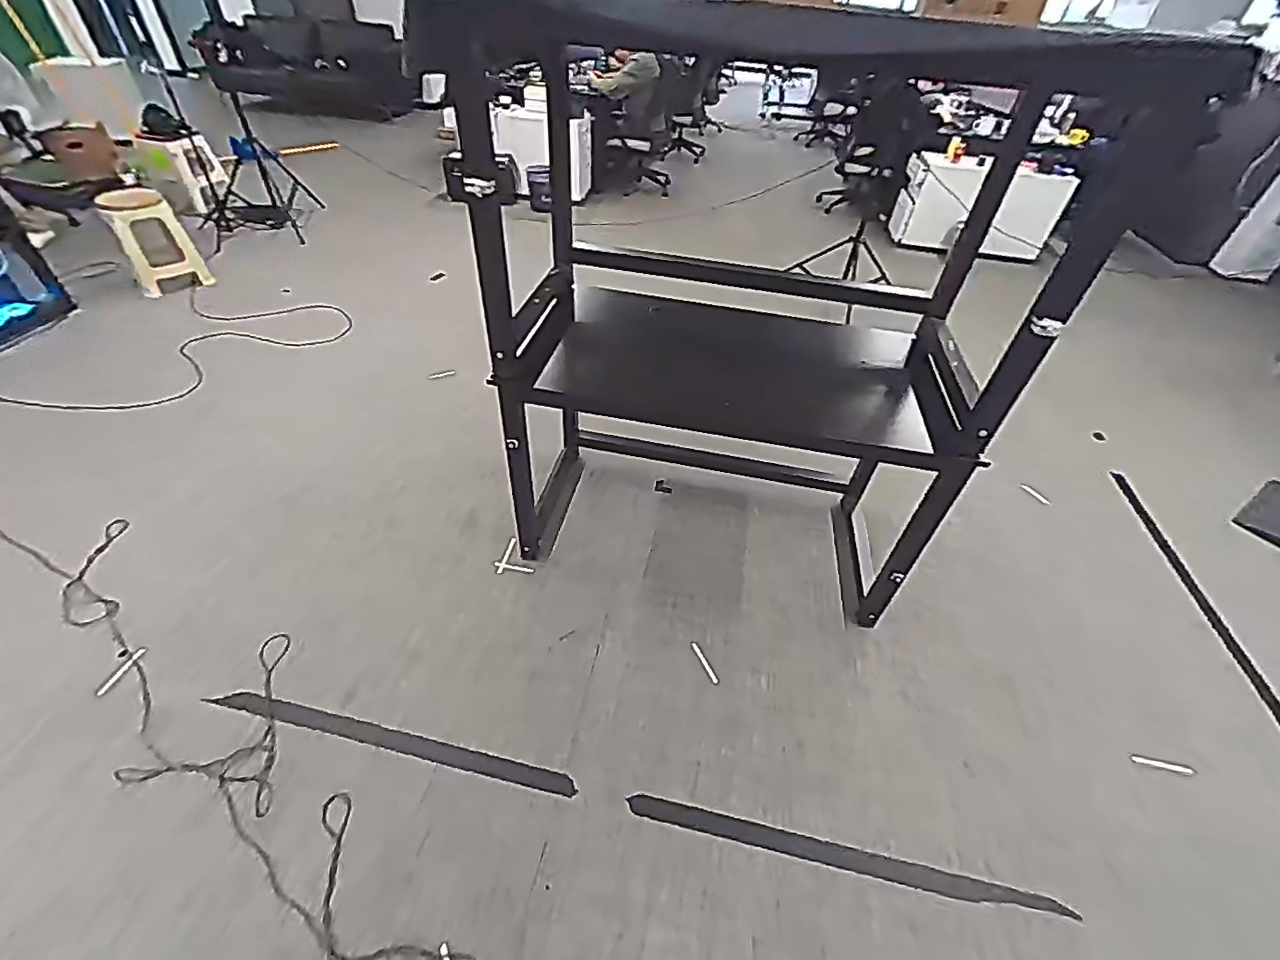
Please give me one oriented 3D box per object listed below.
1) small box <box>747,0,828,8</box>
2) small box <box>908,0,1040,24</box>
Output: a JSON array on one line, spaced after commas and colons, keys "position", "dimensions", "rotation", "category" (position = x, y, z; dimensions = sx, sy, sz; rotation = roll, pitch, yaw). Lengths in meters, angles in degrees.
[{"position": [0.226, -0.844, 0.828], "dimensions": [0.168, 0.176, 0.179], "rotation": [11, 41, 7], "category": "small box"}, {"position": [0.520, -0.794, 0.804], "dimensions": [0.168, 0.176, 0.179], "rotation": [13, 42, 9], "category": "small box"}]
